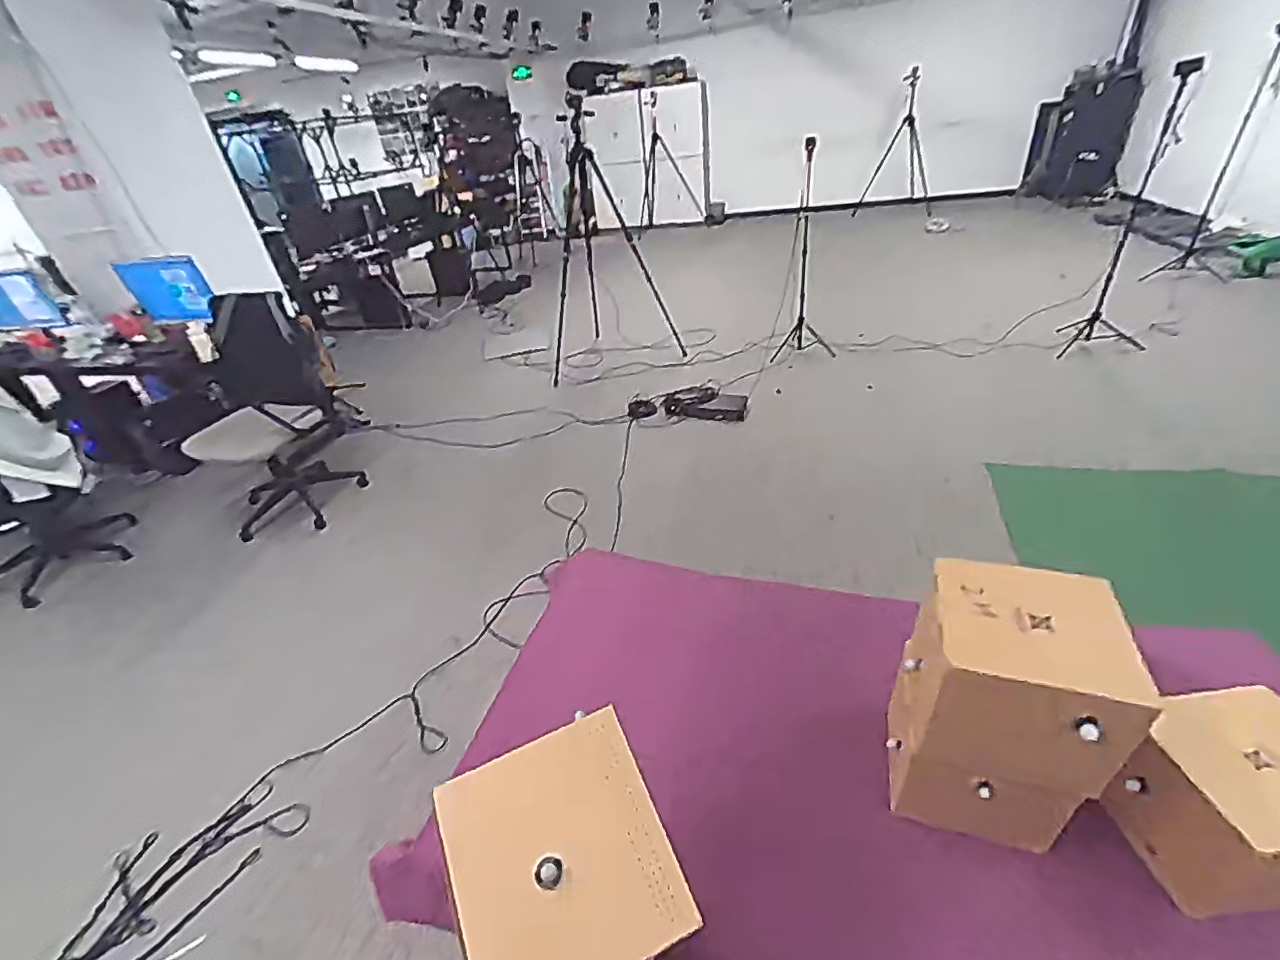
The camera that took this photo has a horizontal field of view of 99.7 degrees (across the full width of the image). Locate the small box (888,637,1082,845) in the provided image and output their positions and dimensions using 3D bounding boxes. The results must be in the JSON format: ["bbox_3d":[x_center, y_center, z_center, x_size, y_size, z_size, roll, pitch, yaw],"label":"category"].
[{"bbox_3d":[0.429,0.339,0.710,0.179,0.176,0.168,7,37,19],"label":"small box"}]

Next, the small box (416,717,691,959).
[{"bbox_3d":[-0.074,0.333,0.477,0.176,0.168,0.179,-20,57,-16],"label":"small box"}]

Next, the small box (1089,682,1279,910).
[{"bbox_3d":[0.673,0.365,0.627,0.179,0.176,0.168,-7,33,0],"label":"small box"}]

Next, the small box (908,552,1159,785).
[{"bbox_3d":[0.415,0.209,0.610,0.179,0.176,0.168,7,36,20],"label":"small box"}]
